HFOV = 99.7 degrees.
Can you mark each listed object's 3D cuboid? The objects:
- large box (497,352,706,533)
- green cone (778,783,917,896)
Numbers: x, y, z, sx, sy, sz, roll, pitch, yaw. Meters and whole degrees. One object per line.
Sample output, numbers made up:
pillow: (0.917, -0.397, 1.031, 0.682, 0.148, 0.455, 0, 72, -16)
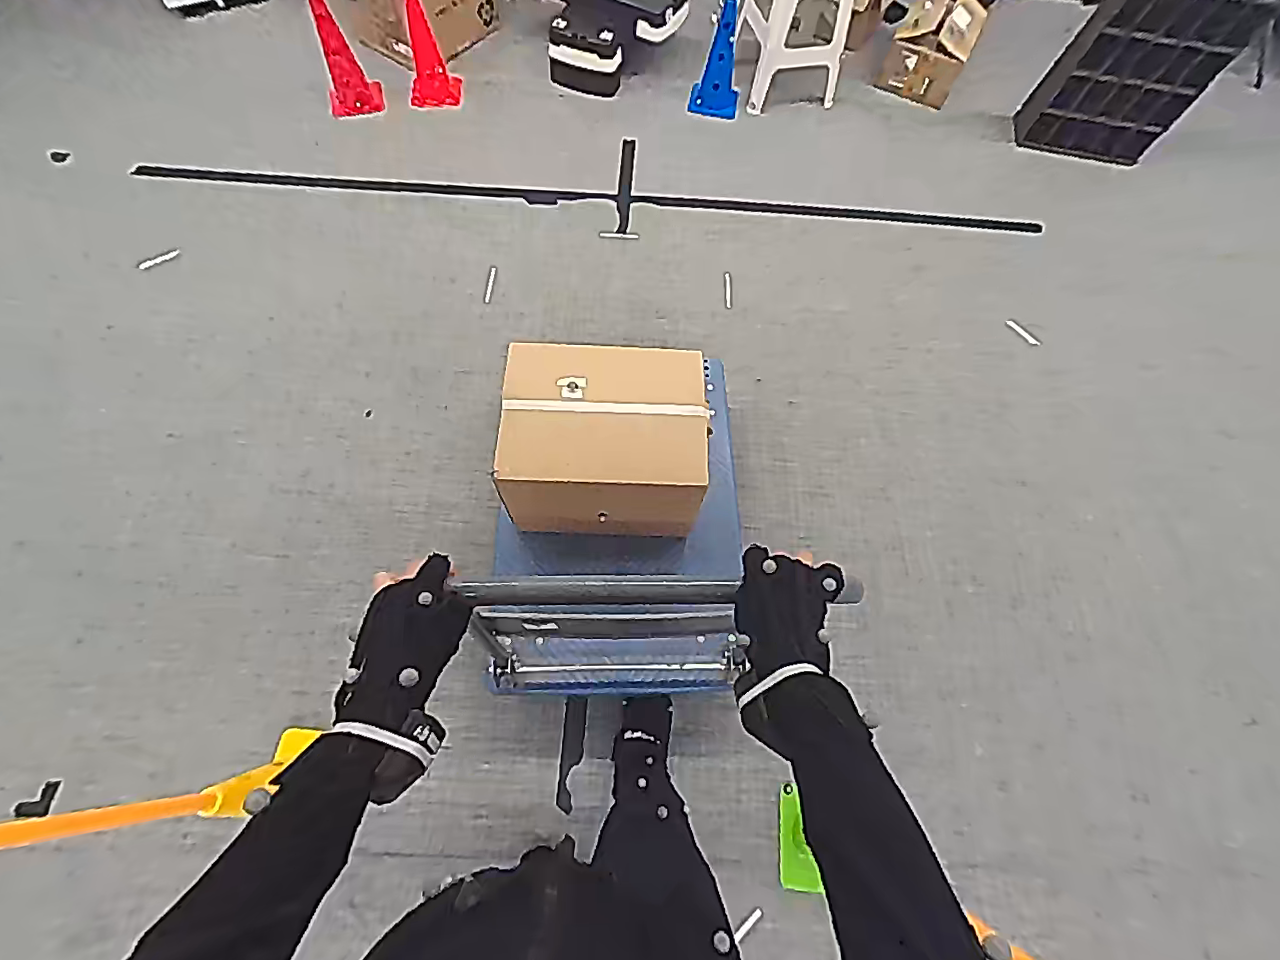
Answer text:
large box: (-0.076, -0.069, 1.220, 0.408, 0.320, 0.320, 2, 66, -2)
green cone: (0.417, 0.724, 1.045, 0.202, 0.368, 0.200, 8, 65, -1)
